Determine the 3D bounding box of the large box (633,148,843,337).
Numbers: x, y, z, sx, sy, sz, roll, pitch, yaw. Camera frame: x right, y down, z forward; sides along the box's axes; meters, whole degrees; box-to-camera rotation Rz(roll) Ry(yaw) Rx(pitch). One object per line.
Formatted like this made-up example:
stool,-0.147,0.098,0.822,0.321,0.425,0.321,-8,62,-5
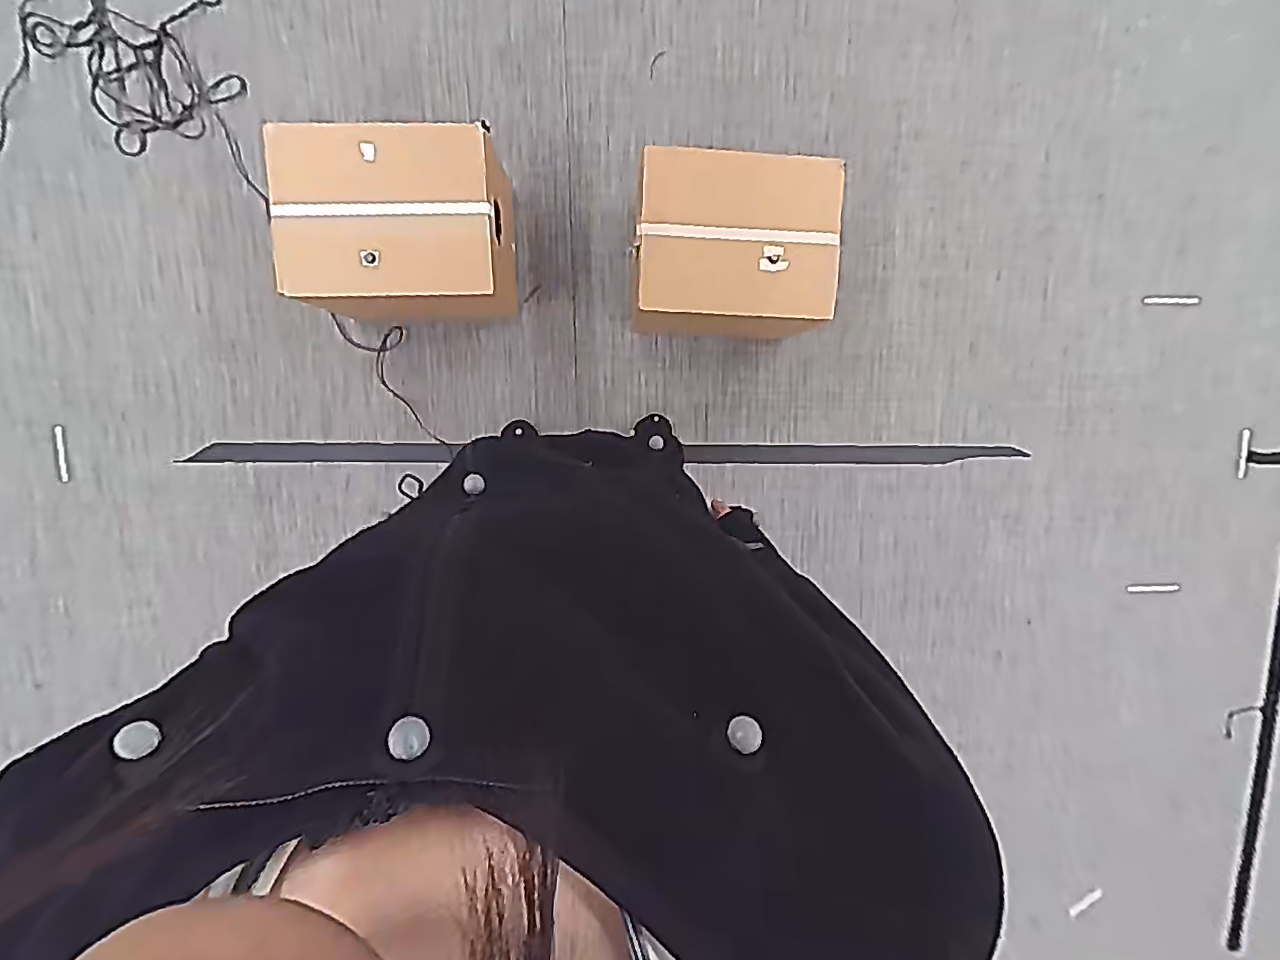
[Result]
large box,0.193,-0.510,1.233,0.408,0.320,0.320,2,97,-5
